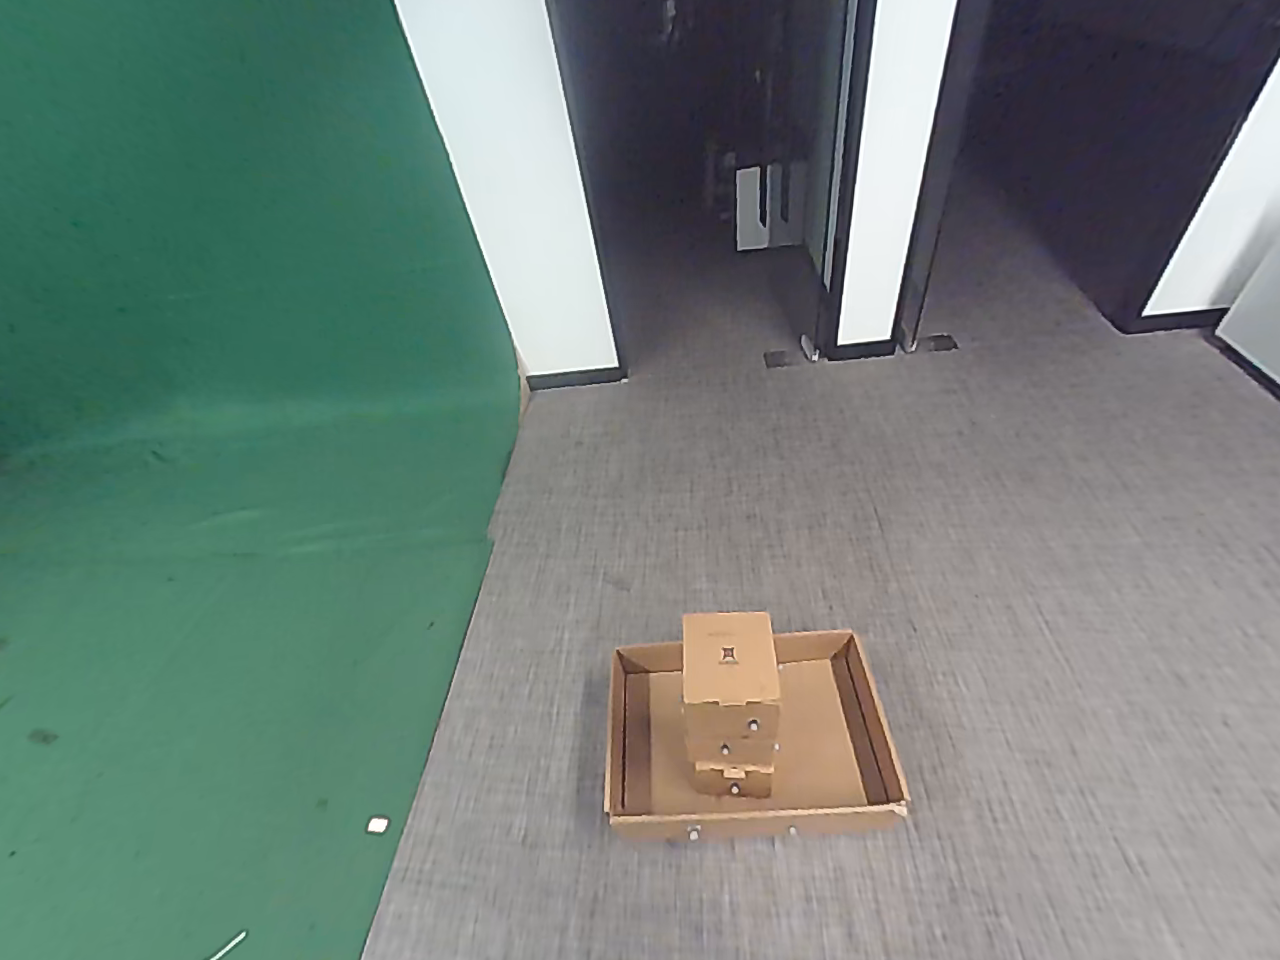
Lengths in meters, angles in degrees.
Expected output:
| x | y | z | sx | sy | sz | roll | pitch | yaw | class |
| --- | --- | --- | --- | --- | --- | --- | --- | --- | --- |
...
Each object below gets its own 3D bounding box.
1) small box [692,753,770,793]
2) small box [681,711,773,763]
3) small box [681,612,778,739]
| x | y | z | sx | sy | sz | roll | pitch | yaw | class |
| --- | --- | --- | --- | --- | --- | --- | --- | --- | --- |
| 0.212 | 0.601 | 1.244 | 0.168 | 0.176 | 0.179 | -1 | 45 | 10 | small box |
| 0.187 | 0.478 | 1.138 | 0.179 | 0.176 | 0.168 | 0 | 44 | 12 | small box |
| 0.166 | 0.369 | 1.019 | 0.168 | 0.176 | 0.179 | -2 | 42 | 7 | small box |
